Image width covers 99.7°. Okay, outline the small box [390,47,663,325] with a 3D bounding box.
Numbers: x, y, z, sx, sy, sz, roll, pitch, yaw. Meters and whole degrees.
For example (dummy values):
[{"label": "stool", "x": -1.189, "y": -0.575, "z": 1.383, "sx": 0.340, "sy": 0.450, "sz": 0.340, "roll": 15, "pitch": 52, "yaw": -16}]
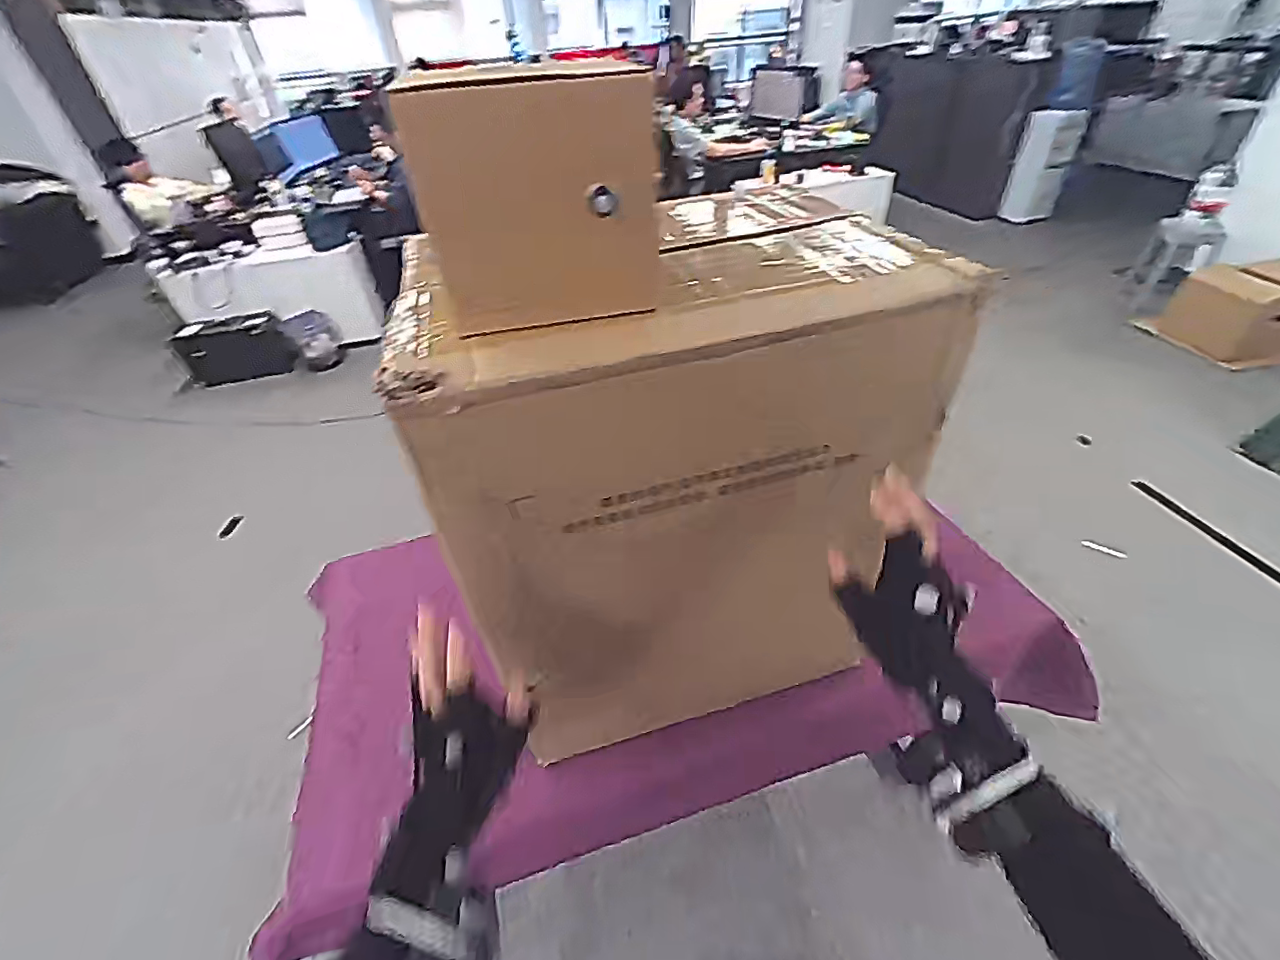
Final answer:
[{"label": "small box", "x": -0.084, "y": -0.248, "z": 0.454, "sx": 0.179, "sy": 0.176, "sz": 0.168, "roll": -12, "pitch": 40, "yaw": -8}]
